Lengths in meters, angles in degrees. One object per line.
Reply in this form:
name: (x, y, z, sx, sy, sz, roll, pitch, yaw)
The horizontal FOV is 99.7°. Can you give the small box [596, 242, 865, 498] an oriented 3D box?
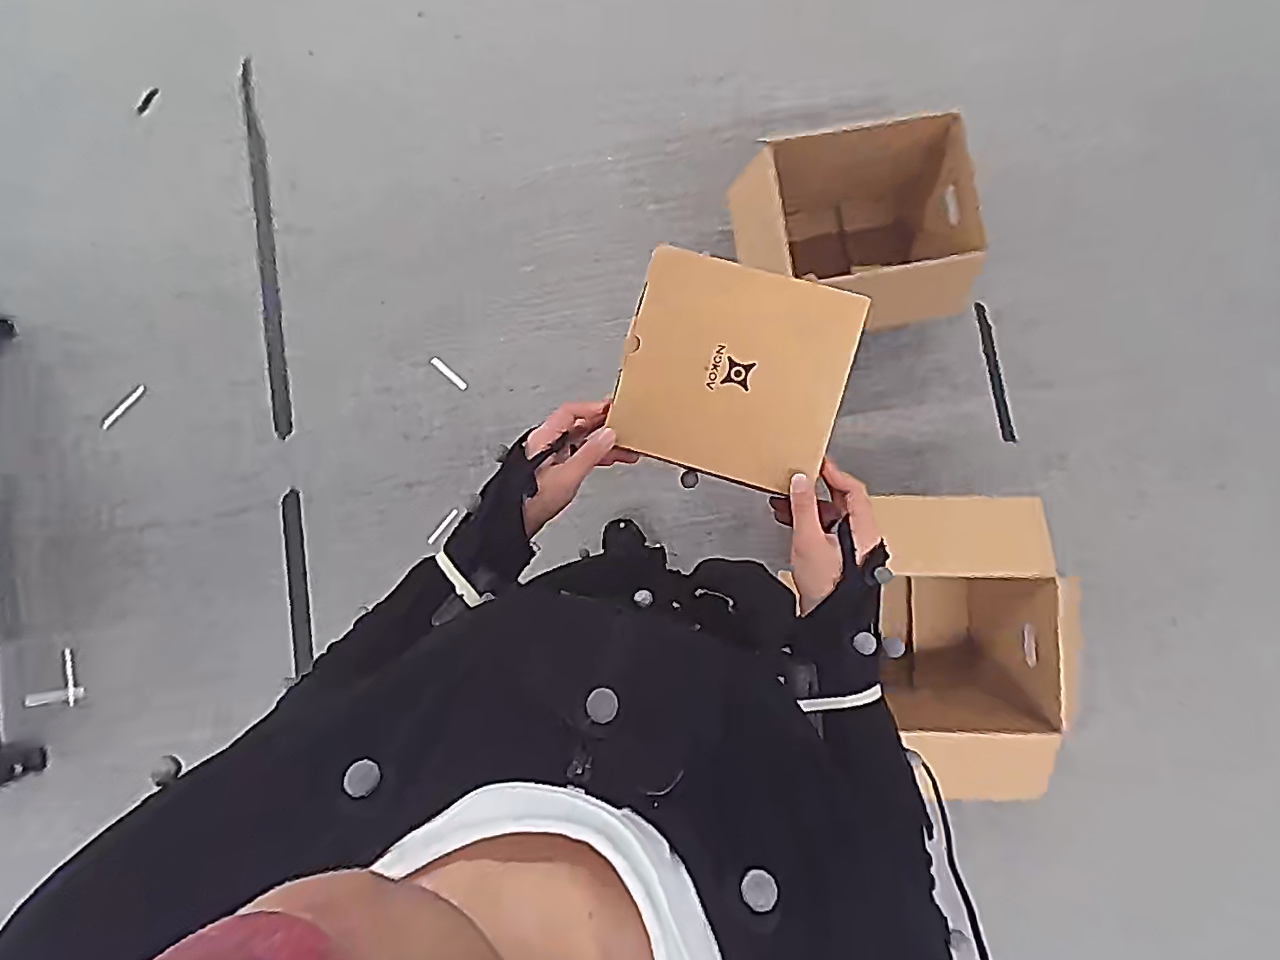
small box: (0.075, -0.089, 0.501, 0.179, 0.176, 0.168, 15, 92, 5)
